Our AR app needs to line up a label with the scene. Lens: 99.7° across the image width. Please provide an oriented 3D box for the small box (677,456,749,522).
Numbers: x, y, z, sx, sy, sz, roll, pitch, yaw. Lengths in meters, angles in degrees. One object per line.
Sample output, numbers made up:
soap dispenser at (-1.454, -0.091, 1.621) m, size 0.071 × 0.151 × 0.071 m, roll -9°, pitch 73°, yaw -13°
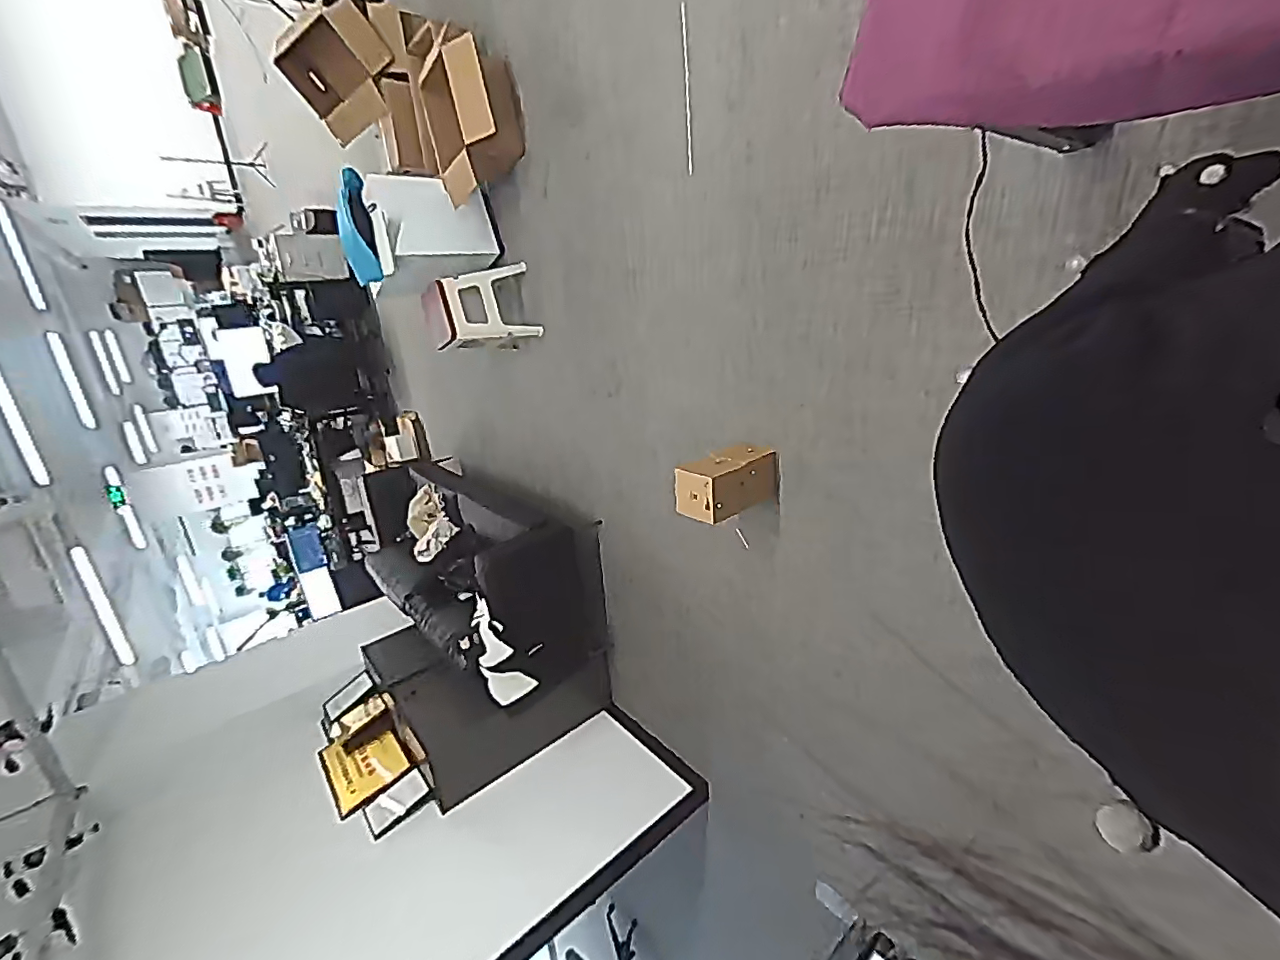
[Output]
small box at (0.246, 0.022, 1.834) m, size 0.179 × 0.176 × 0.168 m, roll 19°, pitch 120°, yaw 48°

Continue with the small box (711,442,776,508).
small box at (0.371, -0.023, 1.931) m, size 0.168 × 0.176 × 0.179 m, roll 18°, pitch 119°, yaw 47°
